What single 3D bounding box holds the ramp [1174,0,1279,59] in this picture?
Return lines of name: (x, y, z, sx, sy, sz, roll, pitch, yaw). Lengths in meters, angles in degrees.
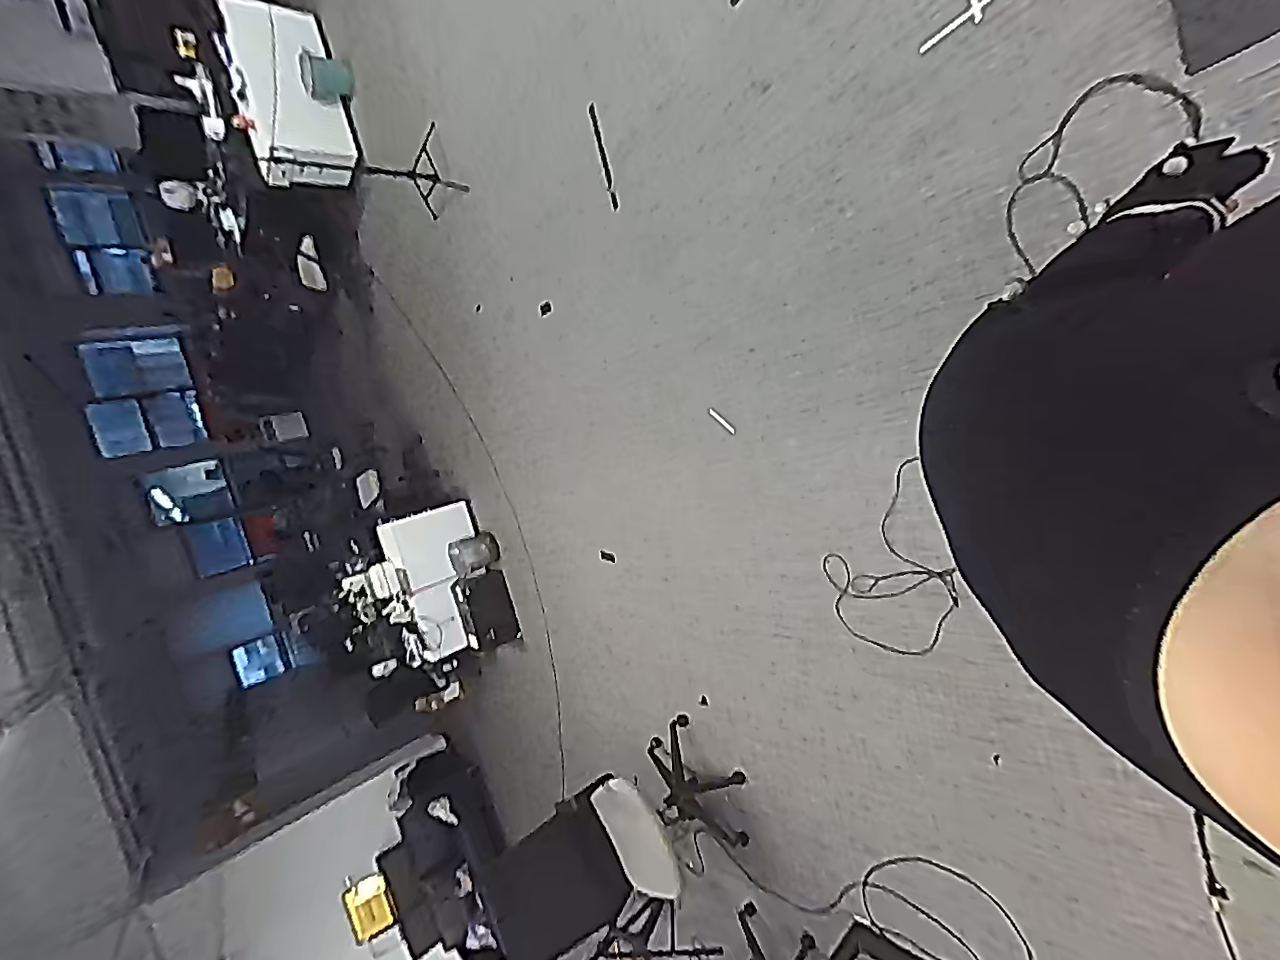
ramp: (0.918, -1.213, 0.679, 0.509, 0.206, 0.991, -14, 94, 51)
